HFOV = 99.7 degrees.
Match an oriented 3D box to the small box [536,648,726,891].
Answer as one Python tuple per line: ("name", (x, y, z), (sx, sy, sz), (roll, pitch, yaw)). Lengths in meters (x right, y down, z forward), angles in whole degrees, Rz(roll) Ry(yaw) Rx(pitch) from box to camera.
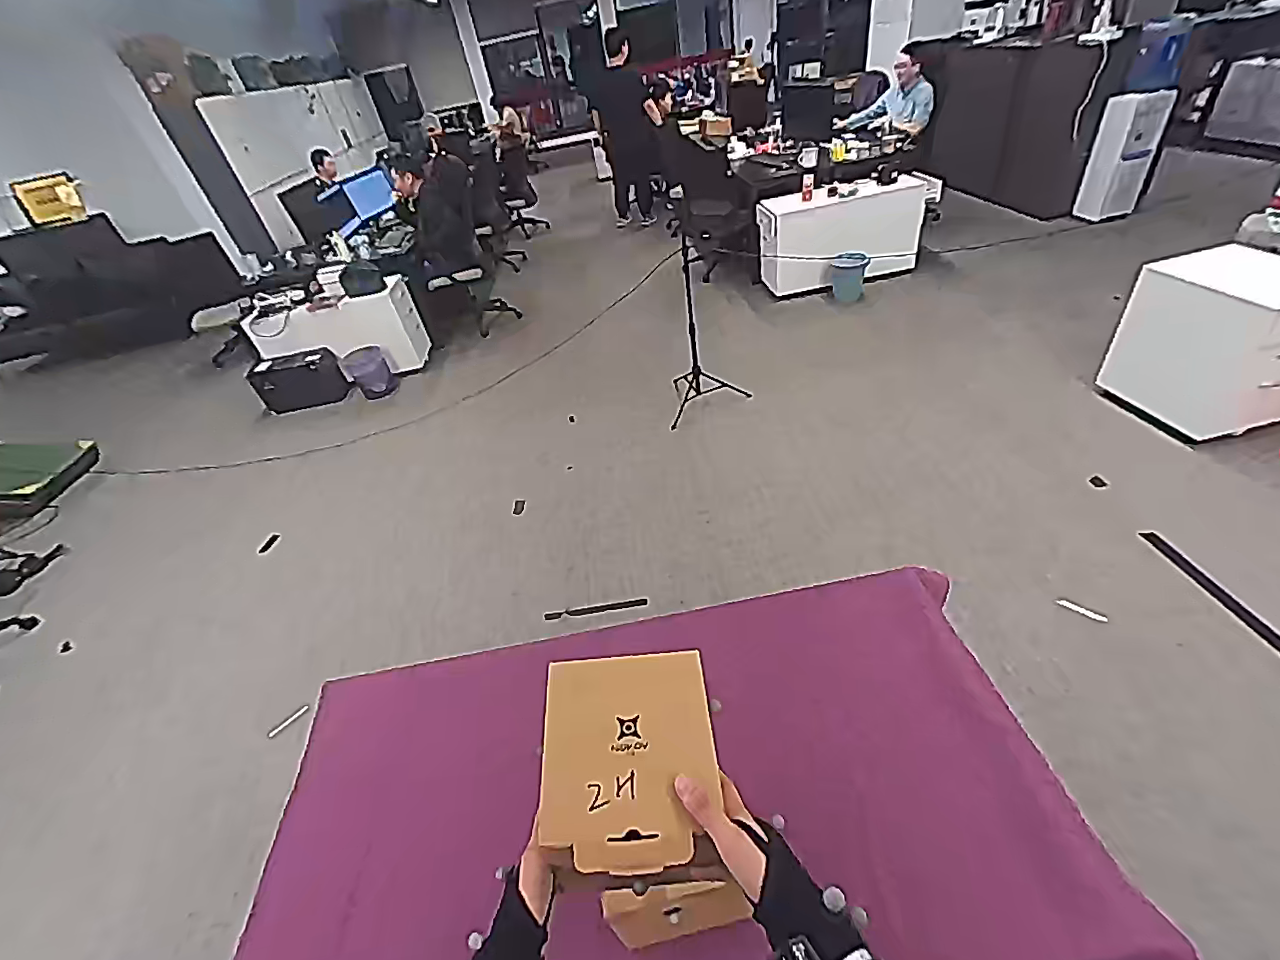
("small box", (-0.009, 0.304, 0.573), (0.168, 0.176, 0.179), (-5, 42, 0))

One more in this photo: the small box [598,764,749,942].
("small box", (0.039, 0.484, 0.726), (0.179, 0.176, 0.168), (-13, 39, -3))
